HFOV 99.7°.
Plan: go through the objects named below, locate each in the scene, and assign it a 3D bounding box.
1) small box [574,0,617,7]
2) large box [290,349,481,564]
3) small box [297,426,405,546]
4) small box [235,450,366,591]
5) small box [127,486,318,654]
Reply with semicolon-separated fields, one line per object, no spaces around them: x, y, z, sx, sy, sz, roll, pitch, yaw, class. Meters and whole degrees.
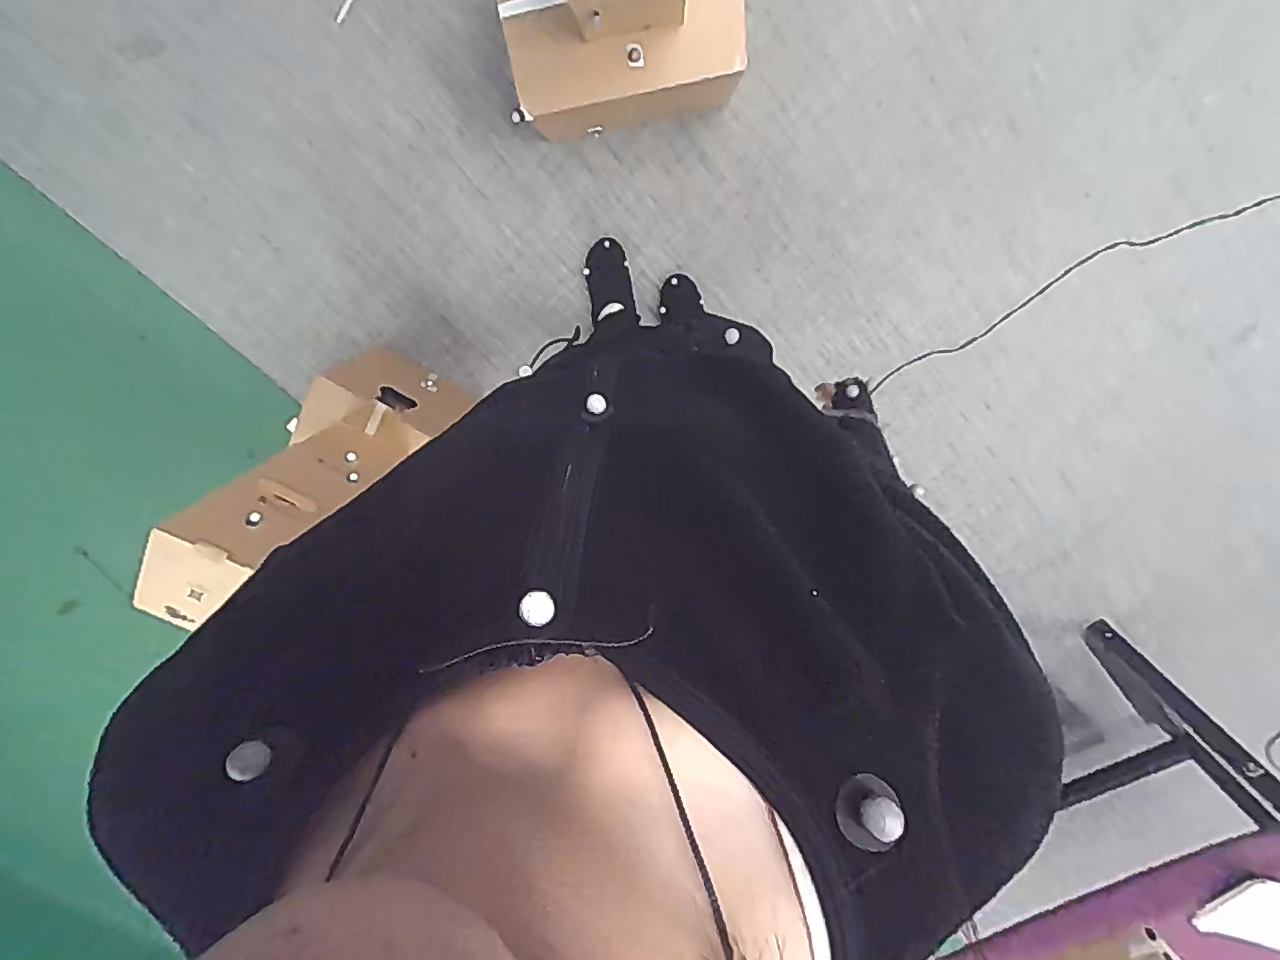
-0.031;-0.712;0.648;0.168;0.176;0.179;-7;112;6;small box
-0.675;-0.071;1.422;0.320;0.320;0.408;31;114;-10;large box
-0.652;0.006;1.187;0.179;0.176;0.168;31;112;-11;small box
-0.659;0.070;1.037;0.168;0.176;0.179;30;113;-11;small box
-0.670;0.139;0.888;0.168;0.176;0.179;31;111;-11;small box
